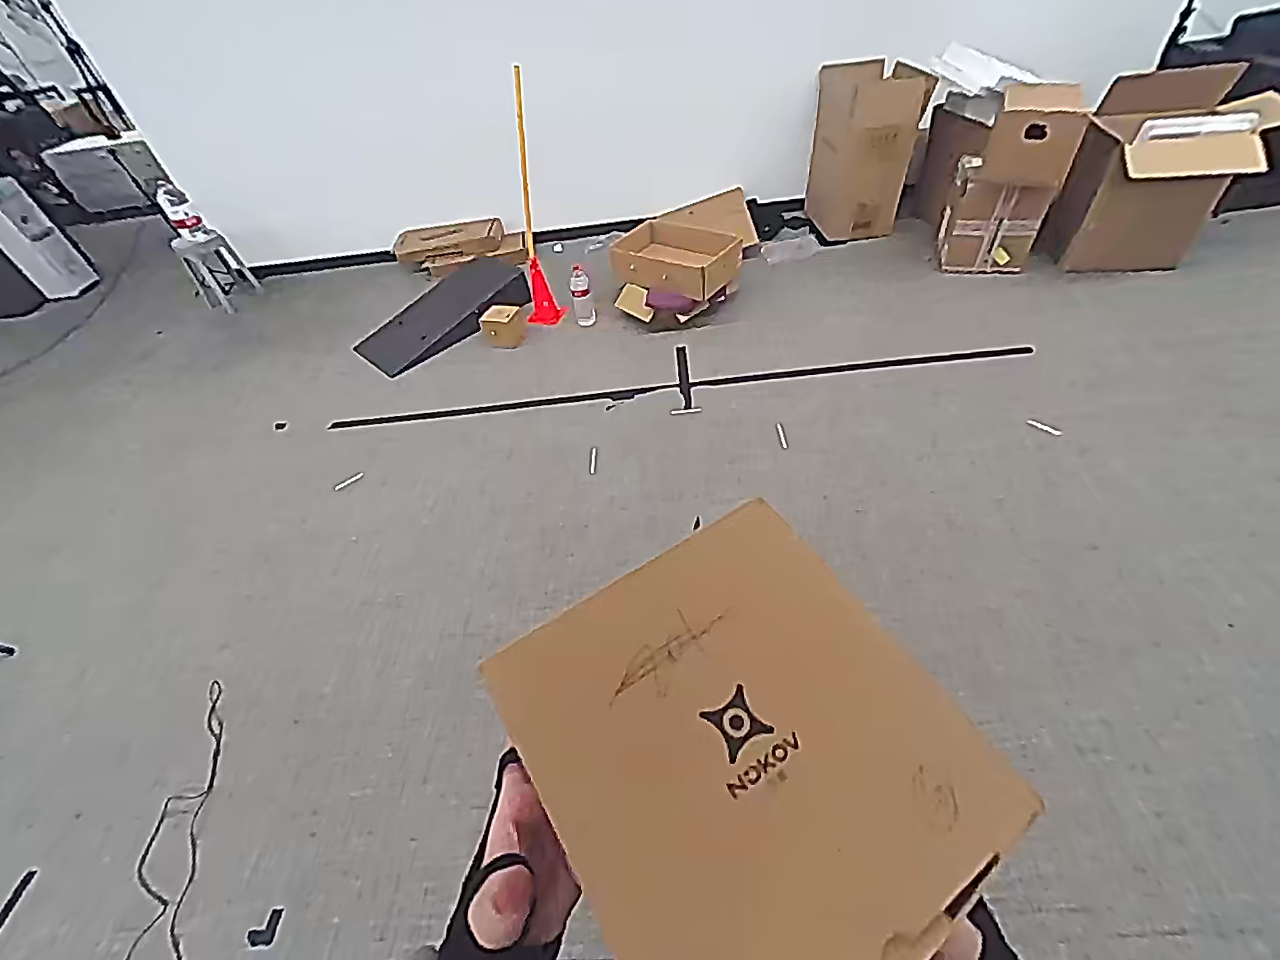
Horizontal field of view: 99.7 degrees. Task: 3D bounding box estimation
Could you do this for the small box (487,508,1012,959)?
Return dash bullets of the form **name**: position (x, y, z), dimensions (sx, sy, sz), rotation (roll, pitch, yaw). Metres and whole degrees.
- **small box**: position (0.042, 0.155, 0.304), dimensions (0.168, 0.176, 0.179), rotation (-30, 59, -20)
